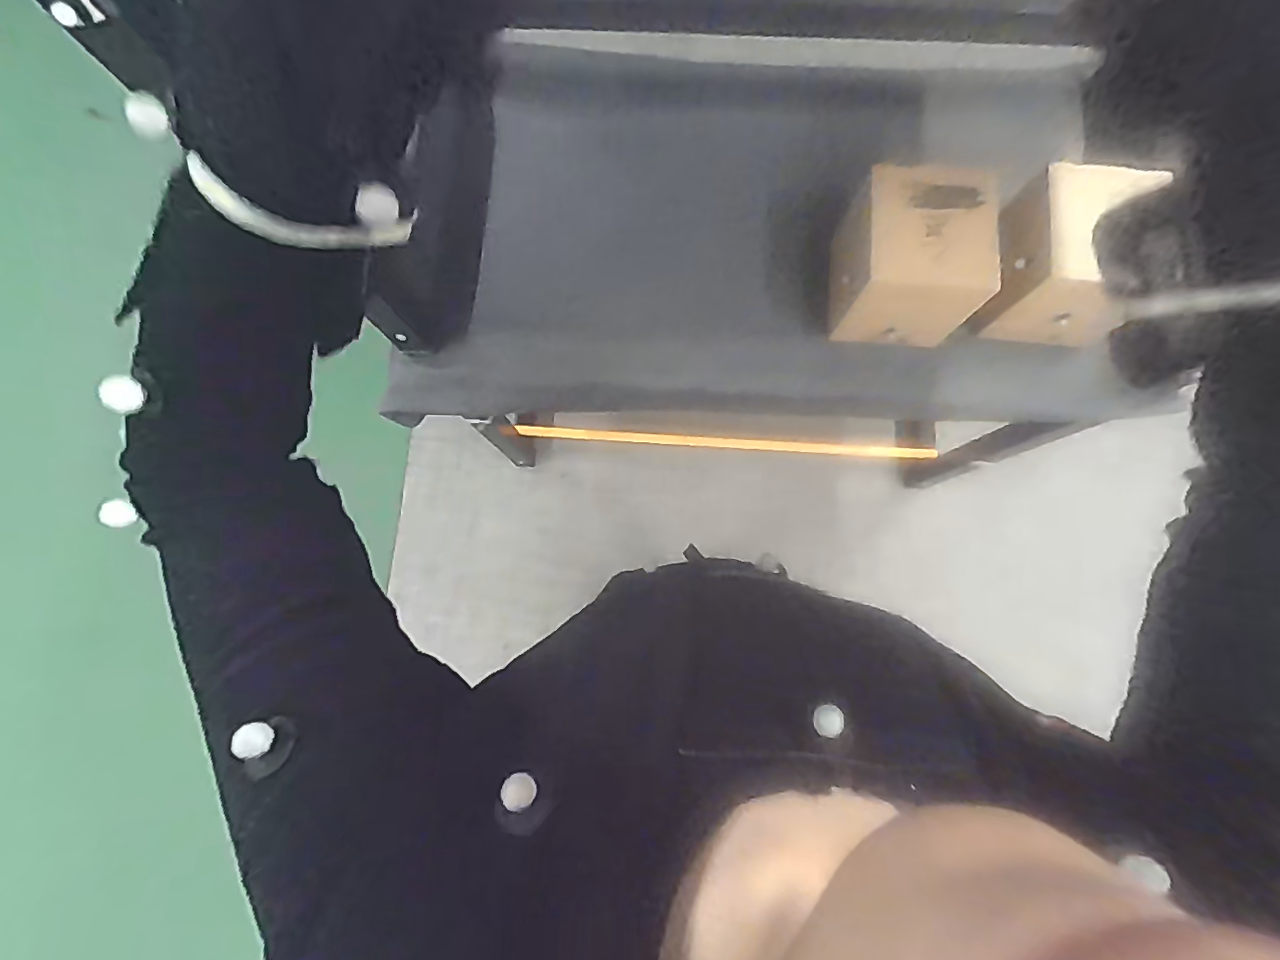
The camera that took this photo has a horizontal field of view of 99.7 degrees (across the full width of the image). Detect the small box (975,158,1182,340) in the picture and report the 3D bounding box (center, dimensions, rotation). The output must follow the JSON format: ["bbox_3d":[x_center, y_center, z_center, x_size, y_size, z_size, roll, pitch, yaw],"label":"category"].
[{"bbox_3d":[0.612,-0.319,0.777,0.168,0.176,0.179,6,78,2],"label":"small box"}]
